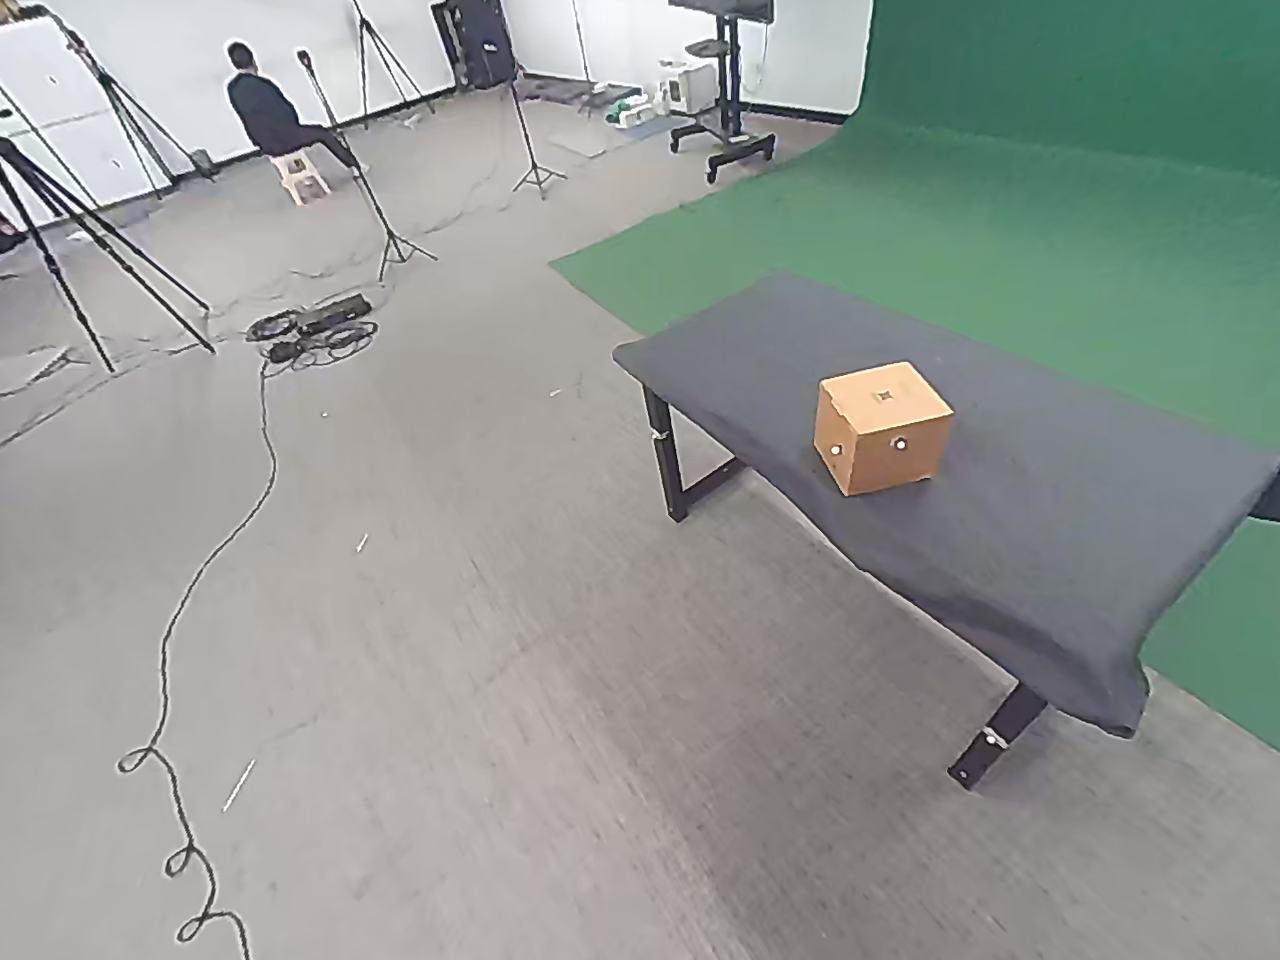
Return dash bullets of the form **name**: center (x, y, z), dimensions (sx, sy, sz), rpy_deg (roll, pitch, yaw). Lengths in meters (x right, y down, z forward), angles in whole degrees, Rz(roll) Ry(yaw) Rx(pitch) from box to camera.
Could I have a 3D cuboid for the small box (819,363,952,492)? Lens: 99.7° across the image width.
- **small box**: center (0.458, -0.097, 1.046), dimensions (0.179, 0.176, 0.168), rpy_deg (-12, 47, -1)
